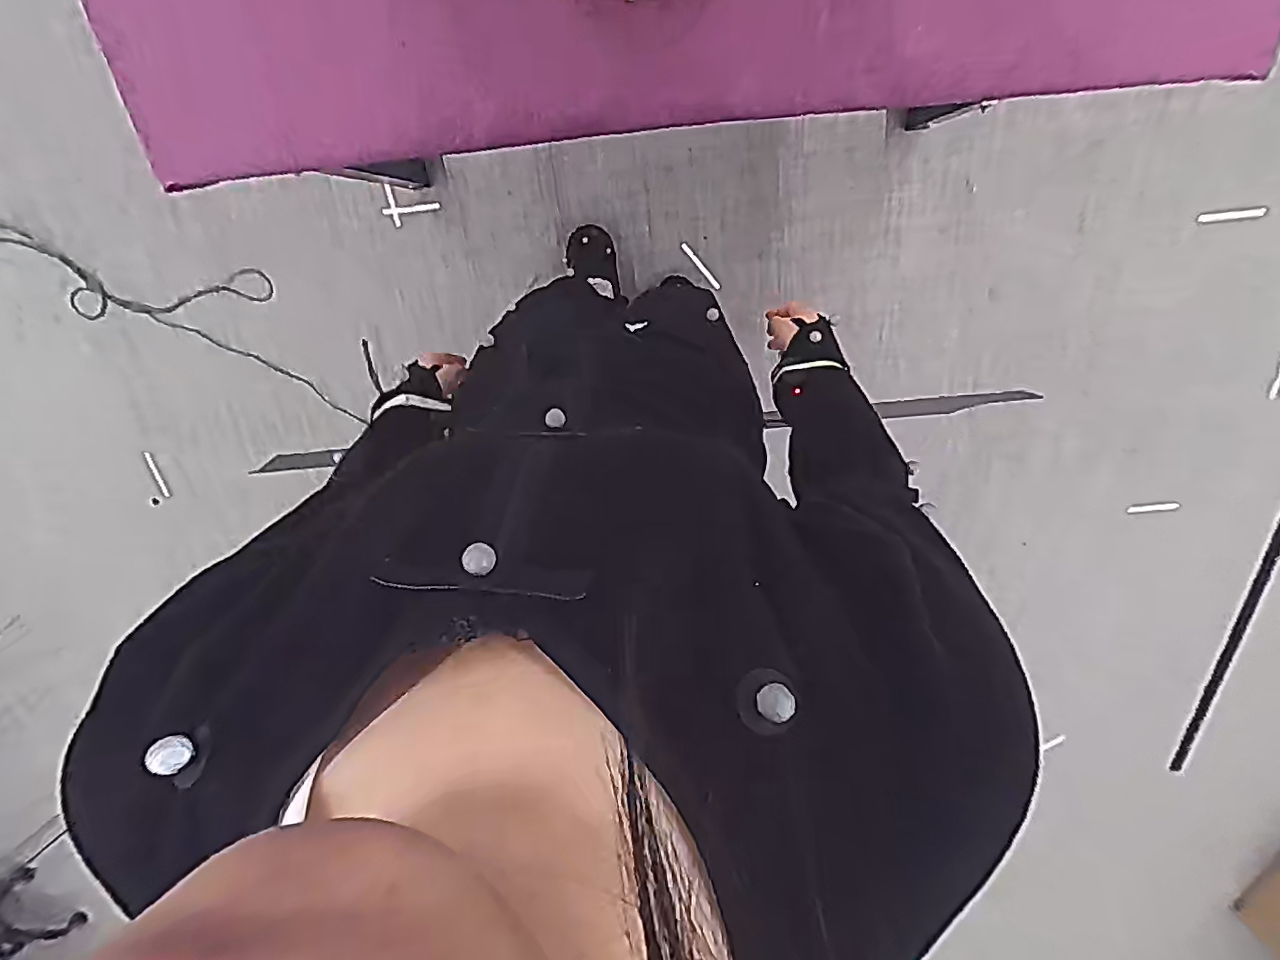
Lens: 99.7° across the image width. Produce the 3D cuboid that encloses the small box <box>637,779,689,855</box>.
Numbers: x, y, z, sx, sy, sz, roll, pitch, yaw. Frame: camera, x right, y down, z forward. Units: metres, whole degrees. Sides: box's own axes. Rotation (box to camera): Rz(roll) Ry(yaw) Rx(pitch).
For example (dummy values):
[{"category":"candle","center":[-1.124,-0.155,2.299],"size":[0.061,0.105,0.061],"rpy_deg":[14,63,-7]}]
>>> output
[{"category":"small box","center":[0.083,1.253,2.014],"size":[0.168,0.176,0.179],"rpy_deg":[-11,115,3]}]
